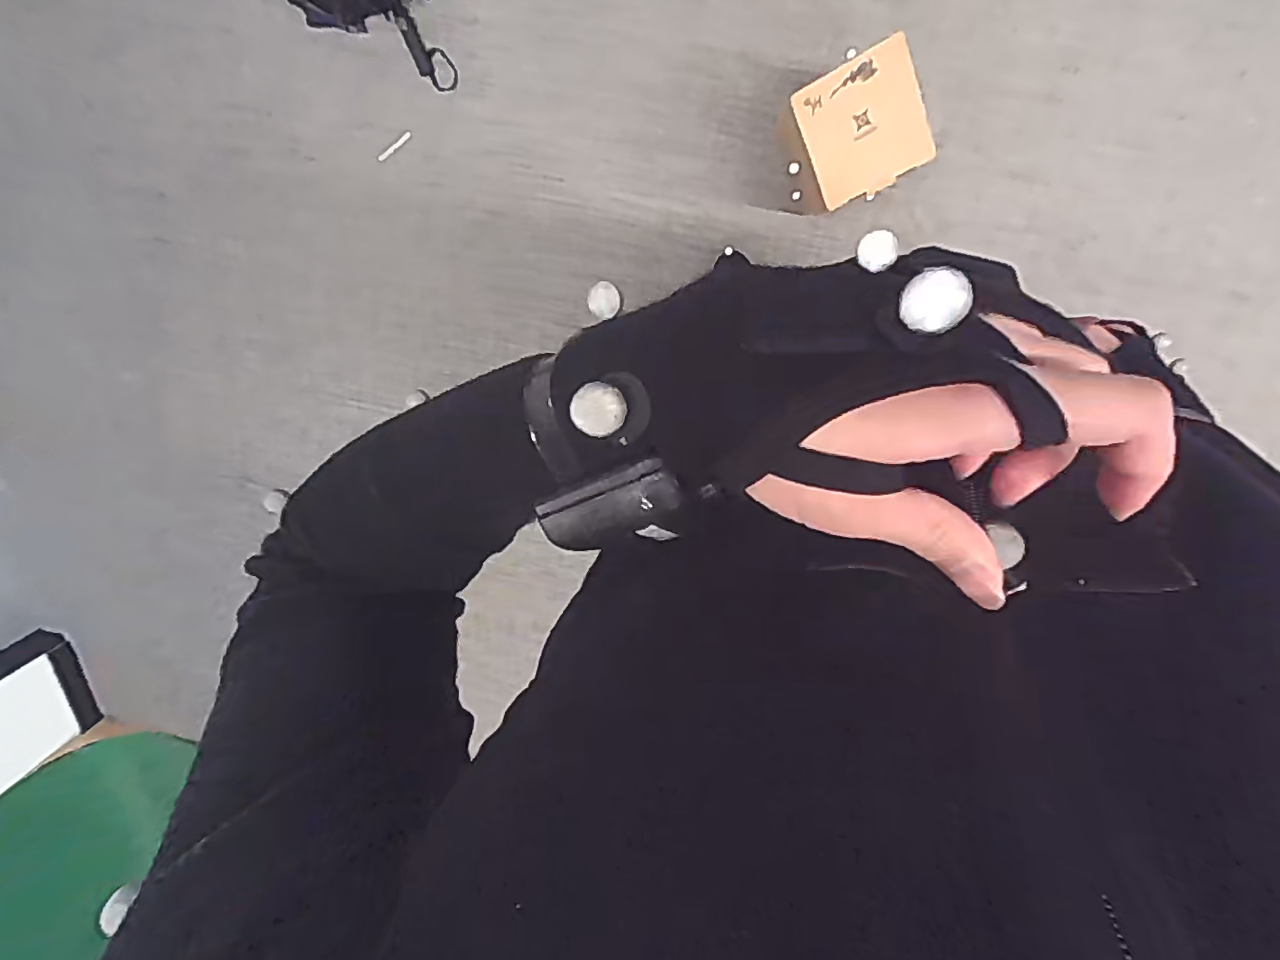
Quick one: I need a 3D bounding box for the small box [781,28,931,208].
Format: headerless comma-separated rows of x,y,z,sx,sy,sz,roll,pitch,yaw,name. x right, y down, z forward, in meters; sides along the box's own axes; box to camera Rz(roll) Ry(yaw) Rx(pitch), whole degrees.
0.339,-0.565,0.871,0.168,0.176,0.179,-21,112,17,small box

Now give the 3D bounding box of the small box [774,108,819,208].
0.362,-0.637,1.018,0.168,0.176,0.179,-22,109,18,small box
